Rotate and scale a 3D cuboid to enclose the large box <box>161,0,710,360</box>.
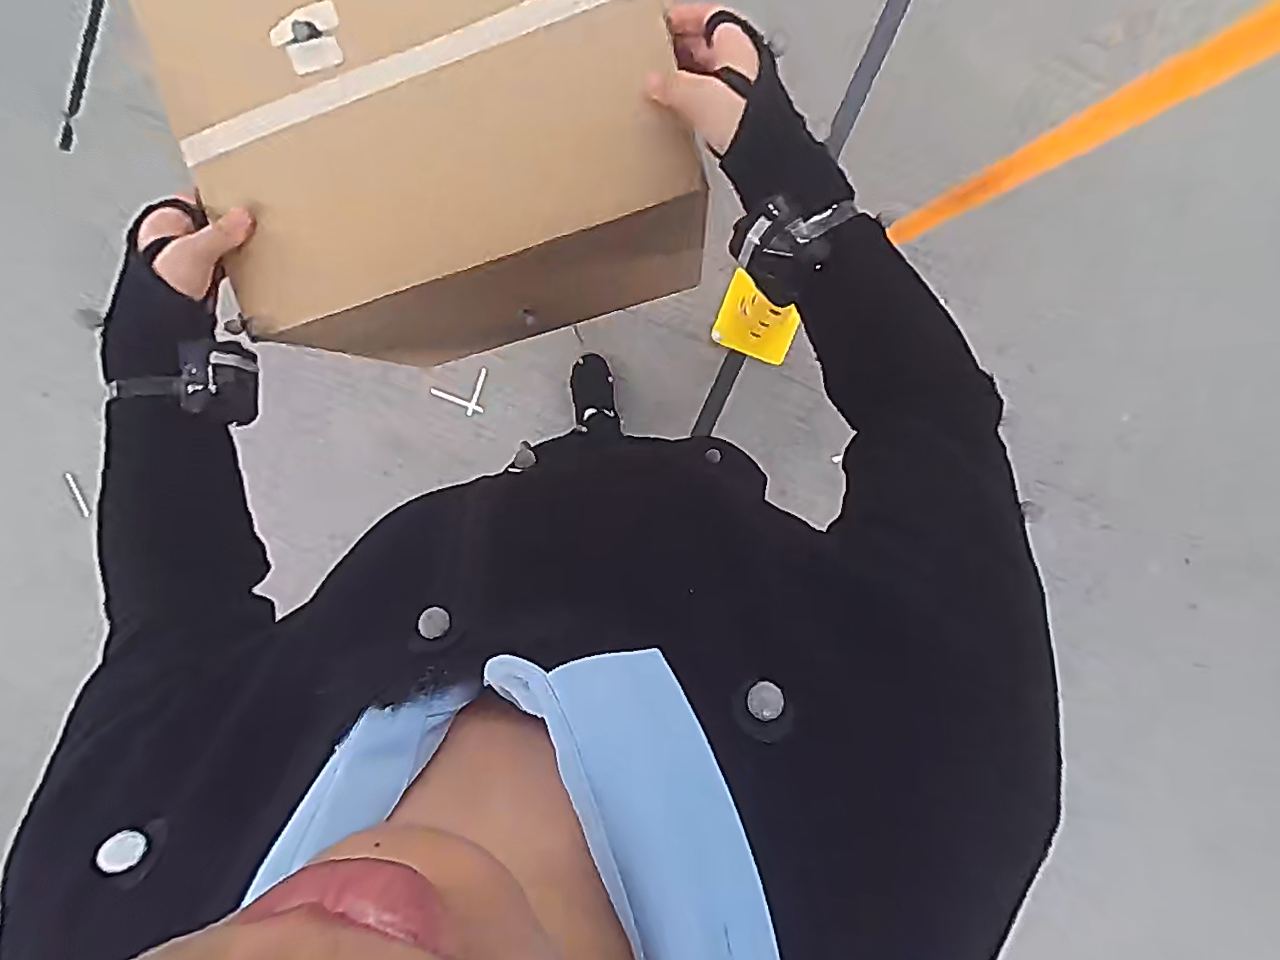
[{"bbox_3d":[-0.158,-0.346,0.584,0.408,0.320,0.320,-15,94,8],"label":"large box"}]
